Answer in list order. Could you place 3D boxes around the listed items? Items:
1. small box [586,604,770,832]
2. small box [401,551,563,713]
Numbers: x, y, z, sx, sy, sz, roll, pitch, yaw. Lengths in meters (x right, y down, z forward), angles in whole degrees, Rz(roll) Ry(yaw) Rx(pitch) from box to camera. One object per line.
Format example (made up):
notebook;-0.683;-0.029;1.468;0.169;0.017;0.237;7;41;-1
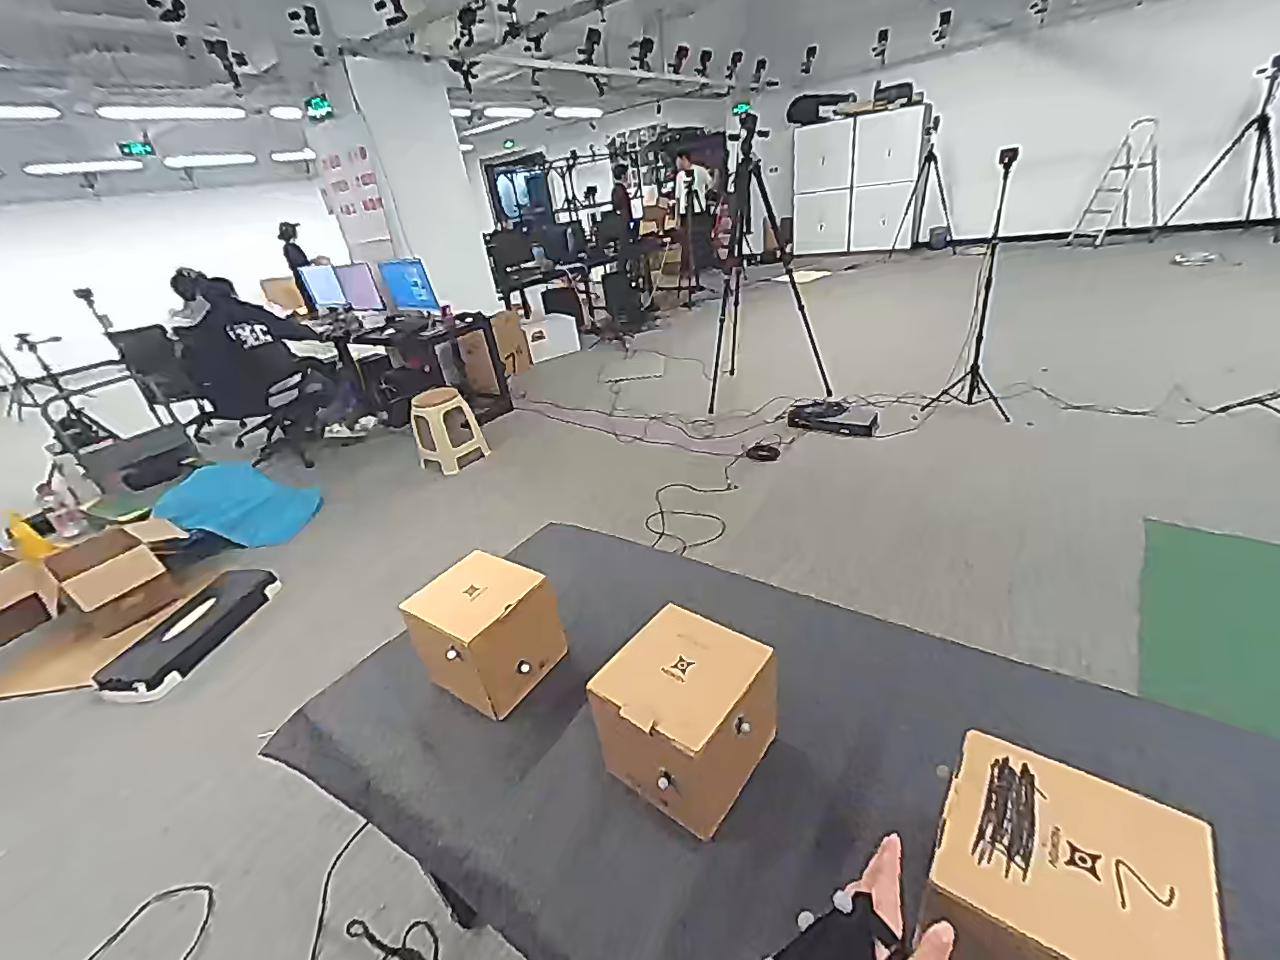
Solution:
small box;0.058;0.300;0.699;0.168;0.176;0.179;16;36;37
small box;-0.252;0.246;0.889;0.179;0.176;0.168;12;34;32
